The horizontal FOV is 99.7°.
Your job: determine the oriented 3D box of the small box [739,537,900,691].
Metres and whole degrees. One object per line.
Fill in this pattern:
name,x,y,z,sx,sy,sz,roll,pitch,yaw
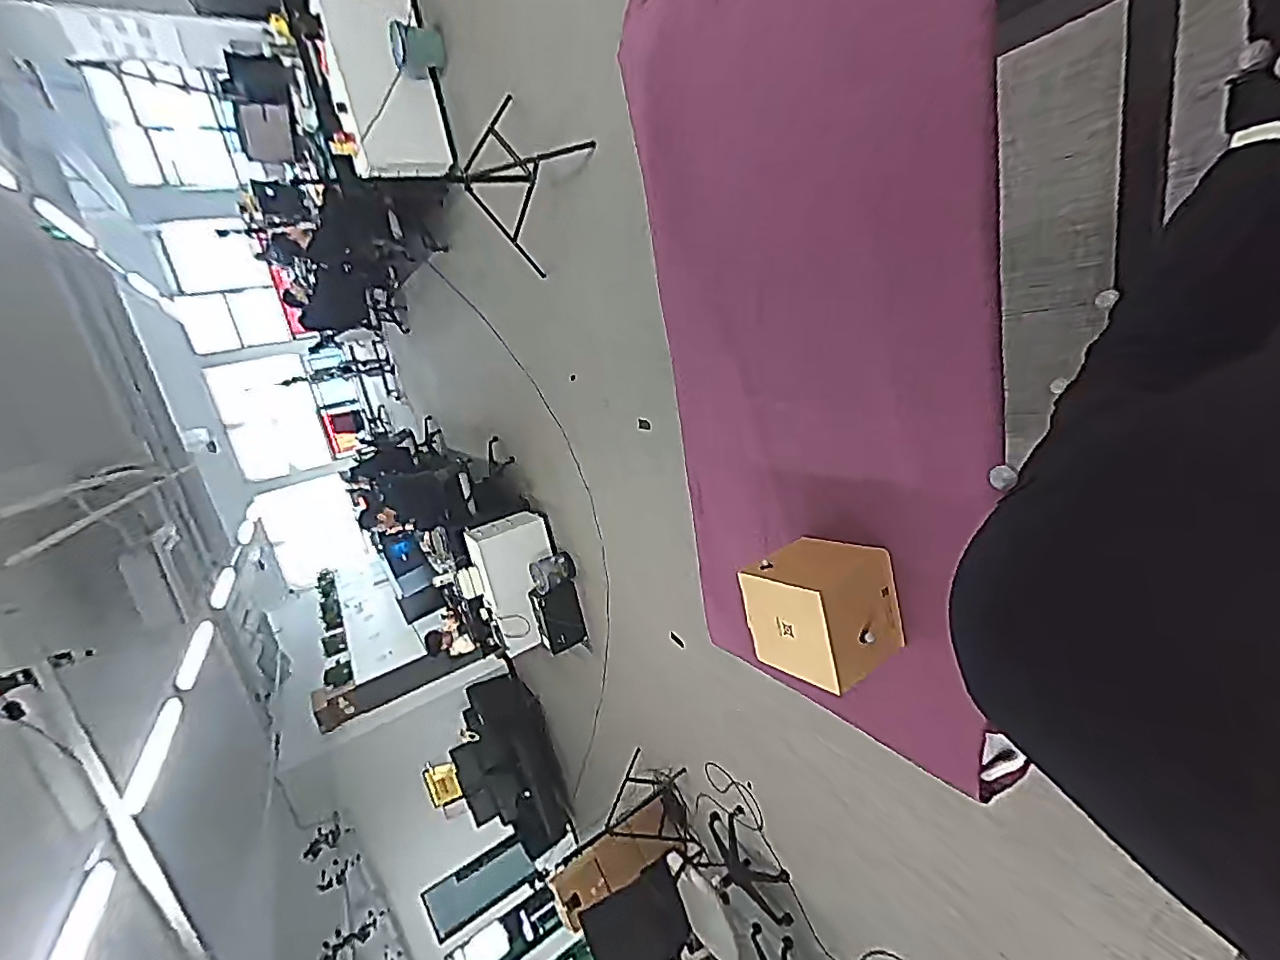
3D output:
small box,0.293,0.201,0.871,0.179,0.176,0.168,2,109,60
